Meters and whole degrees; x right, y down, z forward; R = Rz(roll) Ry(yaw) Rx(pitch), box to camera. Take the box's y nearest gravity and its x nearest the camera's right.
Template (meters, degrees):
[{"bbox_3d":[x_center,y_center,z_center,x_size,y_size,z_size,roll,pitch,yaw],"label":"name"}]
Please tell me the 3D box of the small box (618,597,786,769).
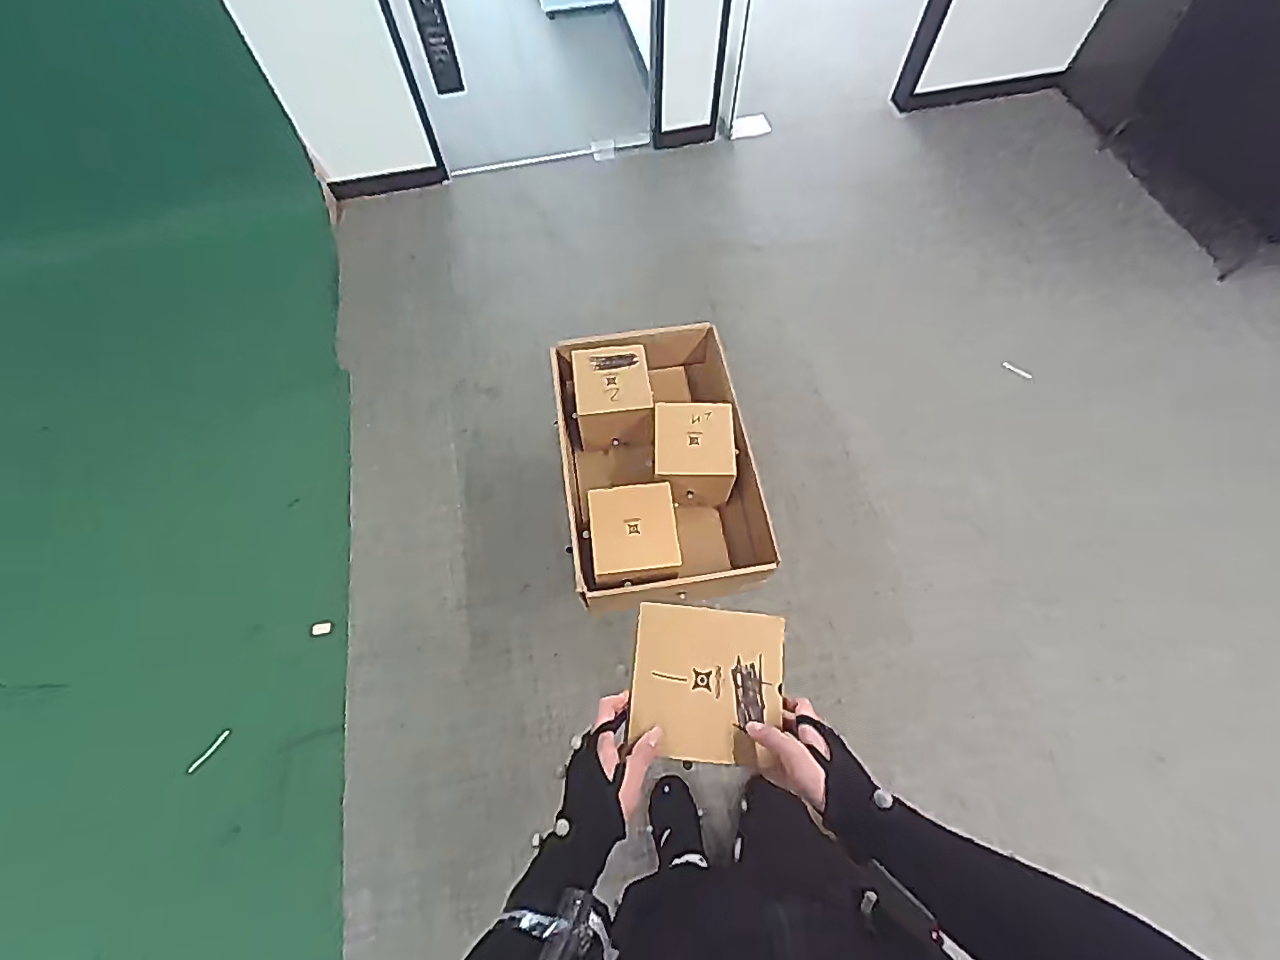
[{"bbox_3d":[0.071,0.252,0.681,0.179,0.176,0.168,8,68,-1],"label":"small box"}]
